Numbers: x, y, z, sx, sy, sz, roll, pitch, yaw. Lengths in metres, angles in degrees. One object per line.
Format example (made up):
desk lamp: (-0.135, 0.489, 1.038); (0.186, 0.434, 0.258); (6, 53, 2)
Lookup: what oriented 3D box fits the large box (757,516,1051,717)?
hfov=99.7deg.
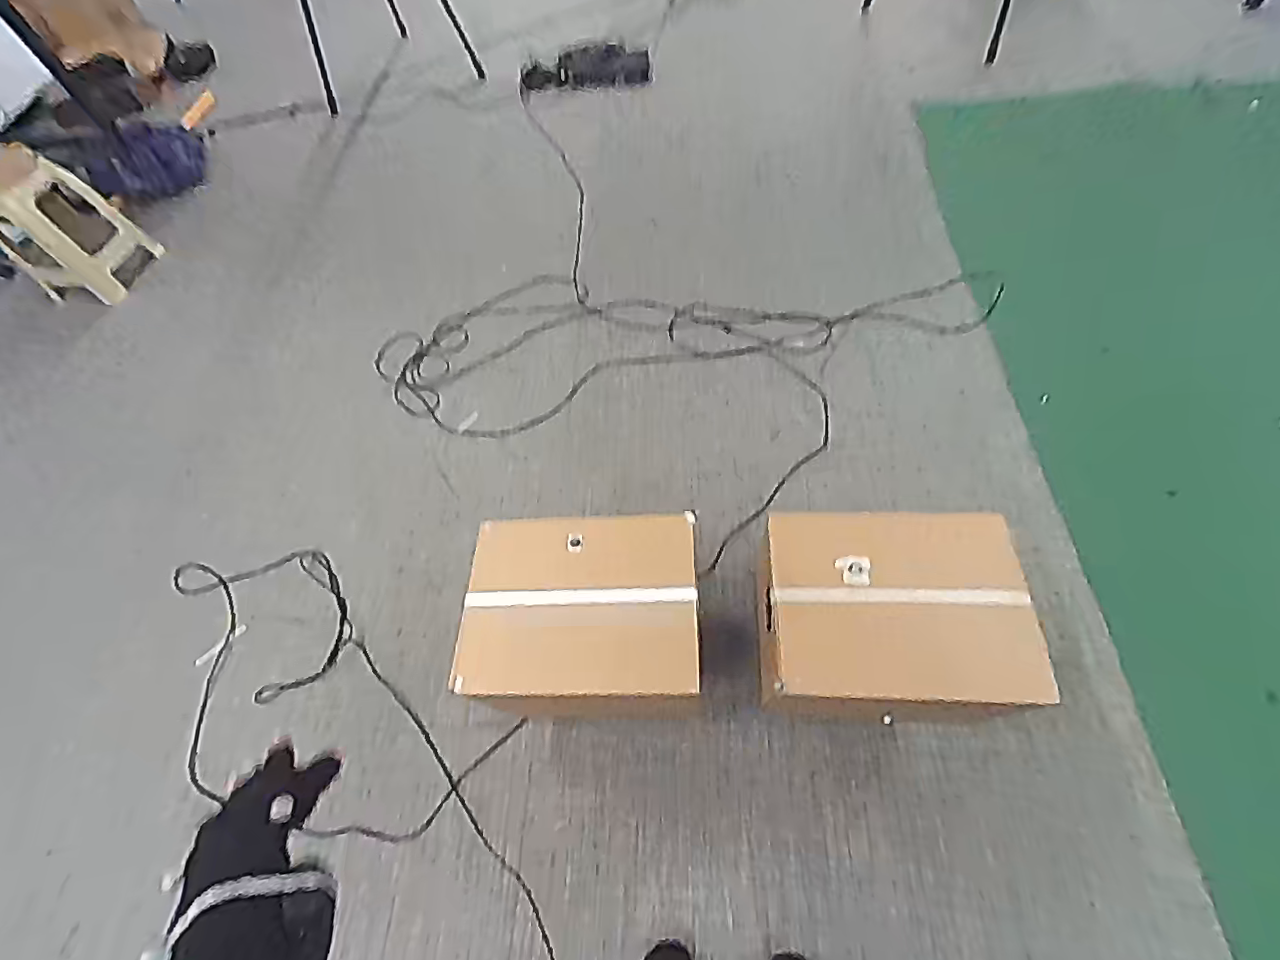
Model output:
large box: (0.445, 0.272, 1.031); (0.408, 0.320, 0.320); (0, 60, 7)
